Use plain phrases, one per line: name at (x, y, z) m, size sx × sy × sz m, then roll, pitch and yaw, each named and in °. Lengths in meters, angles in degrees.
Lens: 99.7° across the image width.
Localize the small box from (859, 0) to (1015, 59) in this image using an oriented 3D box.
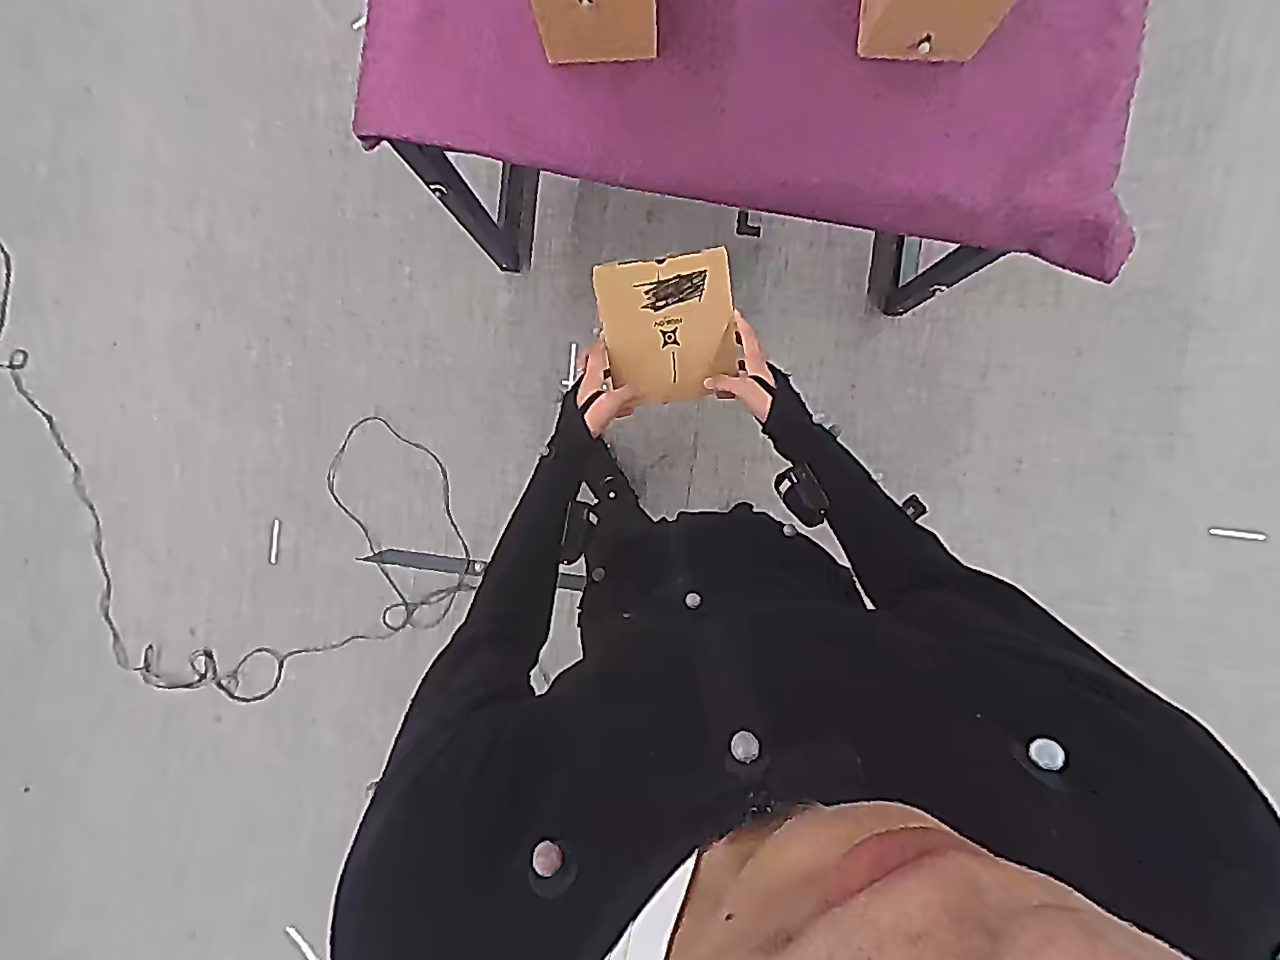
small box at (0.432, -0.735, 0.758) m, size 0.179 × 0.176 × 0.168 m, roll 4°, pitch 93°, yaw 2°

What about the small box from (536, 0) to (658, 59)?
small box at (-0.064, -0.746, 0.775) m, size 0.179 × 0.176 × 0.168 m, roll -1°, pitch 92°, yaw 2°

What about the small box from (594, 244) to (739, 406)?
small box at (0.029, -0.206, 0.740) m, size 0.168 × 0.176 × 0.179 m, roll -9°, pitch 105°, yaw -2°
